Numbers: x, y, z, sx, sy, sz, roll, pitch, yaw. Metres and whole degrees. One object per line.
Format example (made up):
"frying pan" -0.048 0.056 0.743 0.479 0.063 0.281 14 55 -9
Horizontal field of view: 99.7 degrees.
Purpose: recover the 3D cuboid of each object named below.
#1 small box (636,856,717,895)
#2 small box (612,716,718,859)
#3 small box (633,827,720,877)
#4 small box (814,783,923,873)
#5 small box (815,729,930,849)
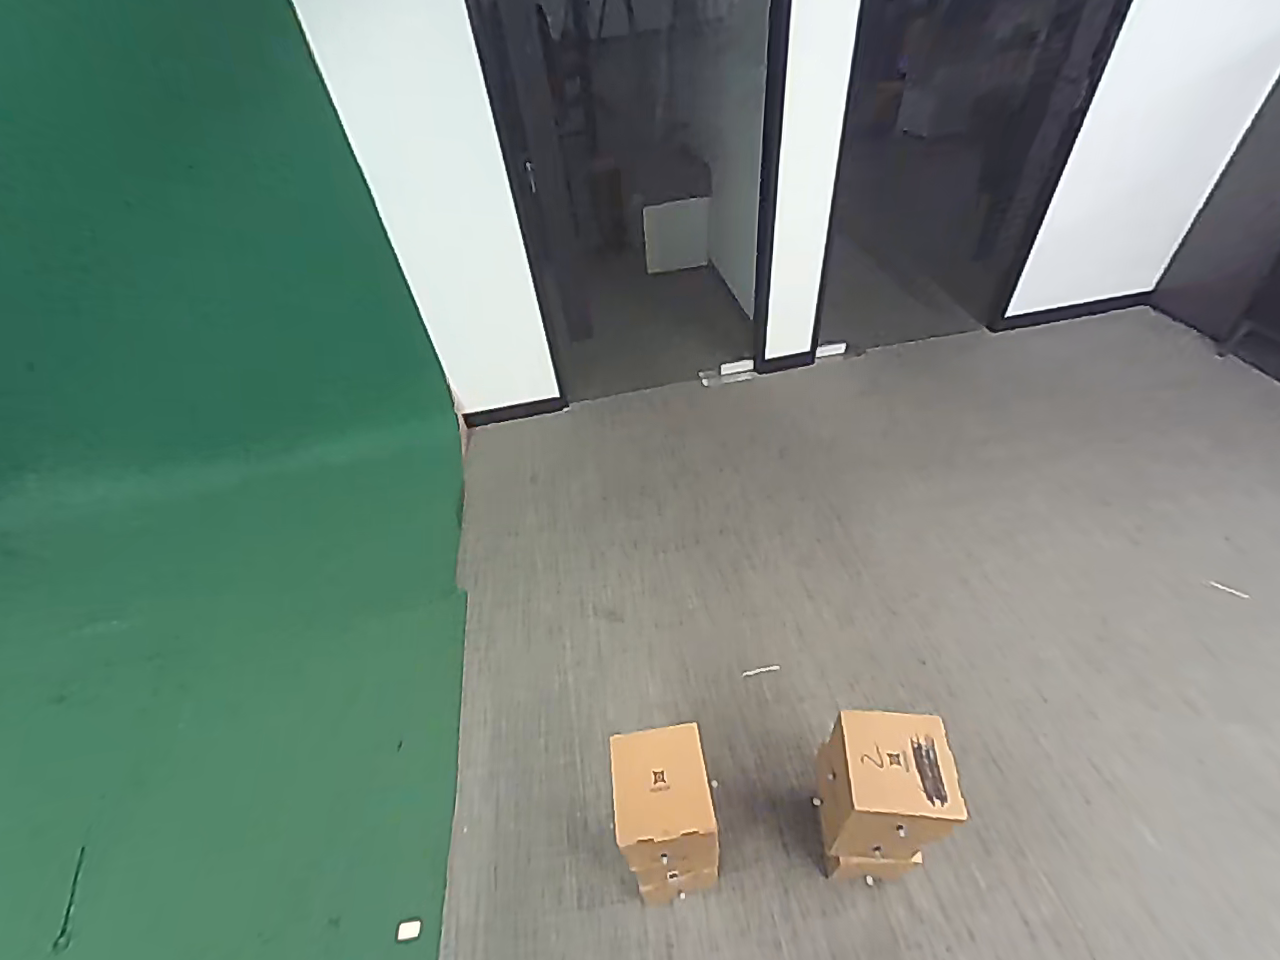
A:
"small box" 0.068 0.793 1.212 0.168 0.176 0.179 -13 45 -6
"small box" 0.042 0.561 0.987 0.168 0.176 0.179 -9 44 -1
"small box" 0.057 0.673 1.103 0.168 0.176 0.179 -13 45 -5
"small box" 0.493 0.749 1.200 0.168 0.176 0.179 -4 45 4
"small box" 0.458 0.628 1.094 0.168 0.176 0.179 0 46 7
